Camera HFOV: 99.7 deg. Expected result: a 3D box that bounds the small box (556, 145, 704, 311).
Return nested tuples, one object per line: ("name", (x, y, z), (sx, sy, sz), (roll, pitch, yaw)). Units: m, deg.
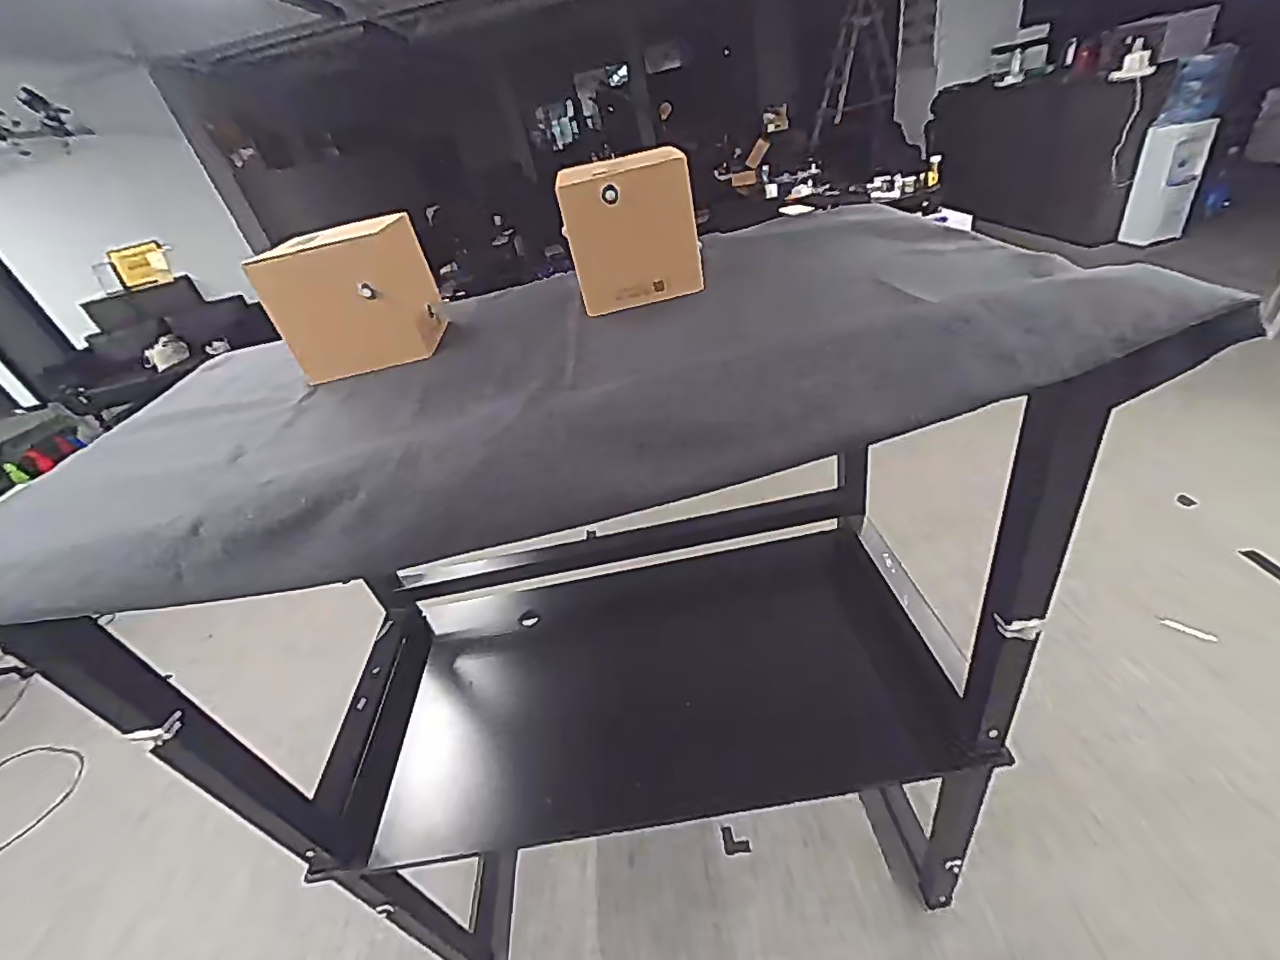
("small box", (-0.012, -0.353, 0.758), (0.168, 0.176, 0.179), (-13, 34, 3))
